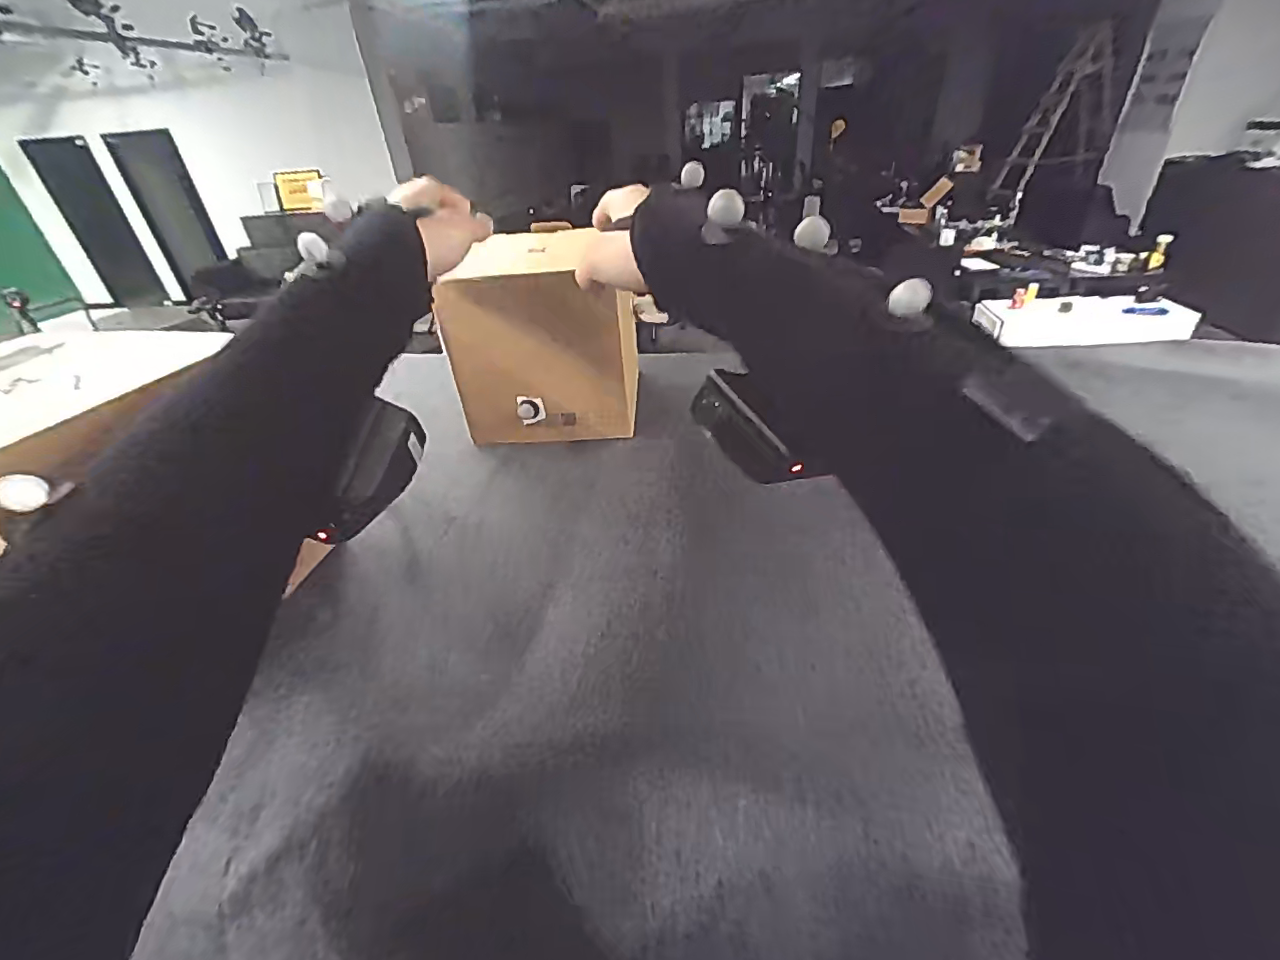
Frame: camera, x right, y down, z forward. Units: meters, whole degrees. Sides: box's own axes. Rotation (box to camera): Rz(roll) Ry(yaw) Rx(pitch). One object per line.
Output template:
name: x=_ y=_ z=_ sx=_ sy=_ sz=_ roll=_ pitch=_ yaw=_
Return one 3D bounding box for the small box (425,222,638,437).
small box: x=-0.092 y=-0.158 z=0.560 sx=0.168 sy=0.176 sz=0.179 roll=-3 pitch=33 yaw=4
